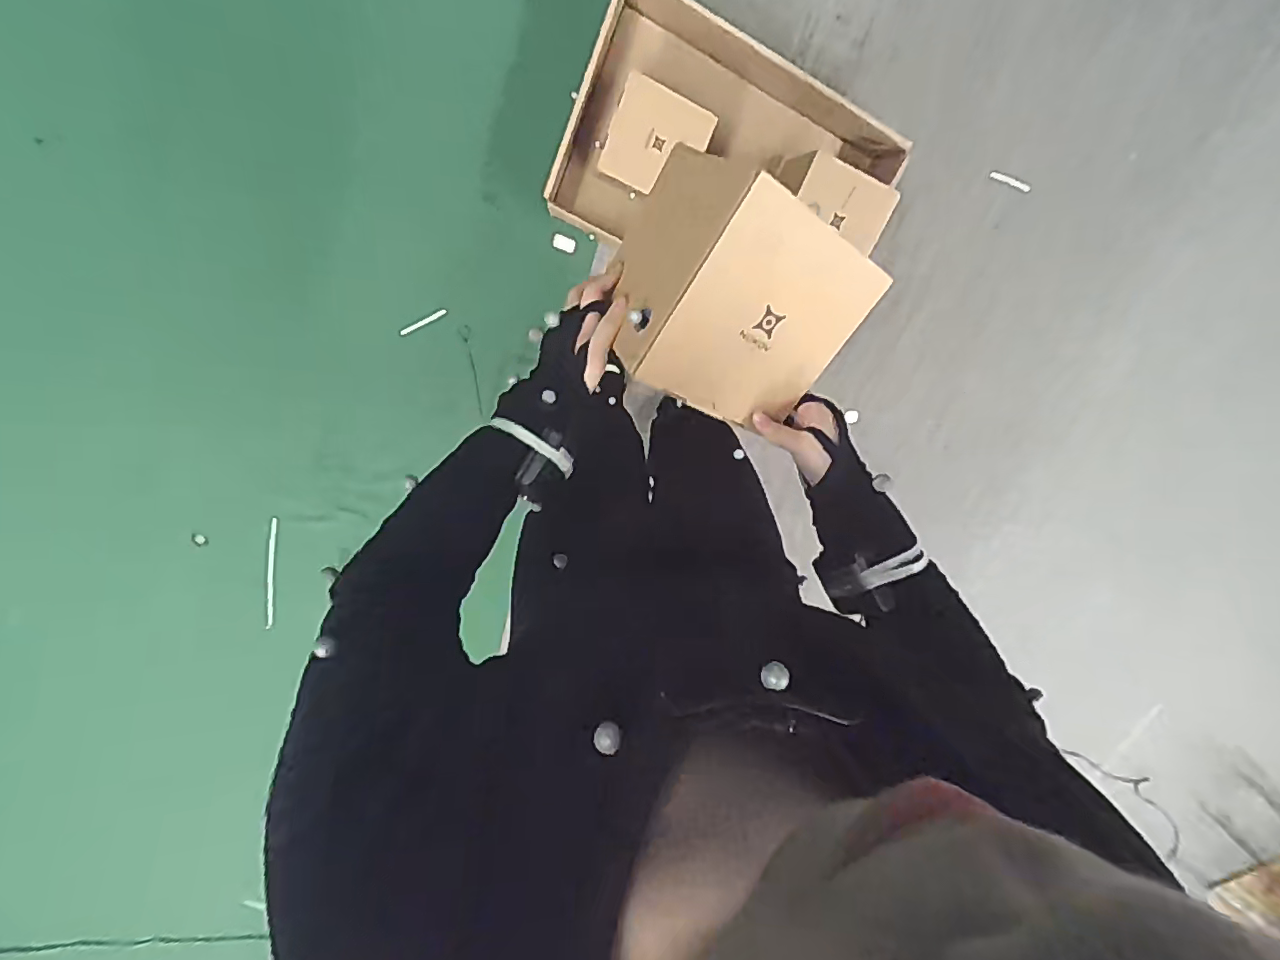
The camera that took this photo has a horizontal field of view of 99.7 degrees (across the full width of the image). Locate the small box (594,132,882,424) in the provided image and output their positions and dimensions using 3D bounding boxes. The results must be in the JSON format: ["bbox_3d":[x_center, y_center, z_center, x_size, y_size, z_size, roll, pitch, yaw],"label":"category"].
[{"bbox_3d":[0.075,-0.189,0.508,0.168,0.176,0.179,19,120,-32],"label":"small box"}]

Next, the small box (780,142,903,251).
[{"bbox_3d":[0.318,-0.465,0.965,0.168,0.176,0.179,18,112,-13],"label":"small box"}]
